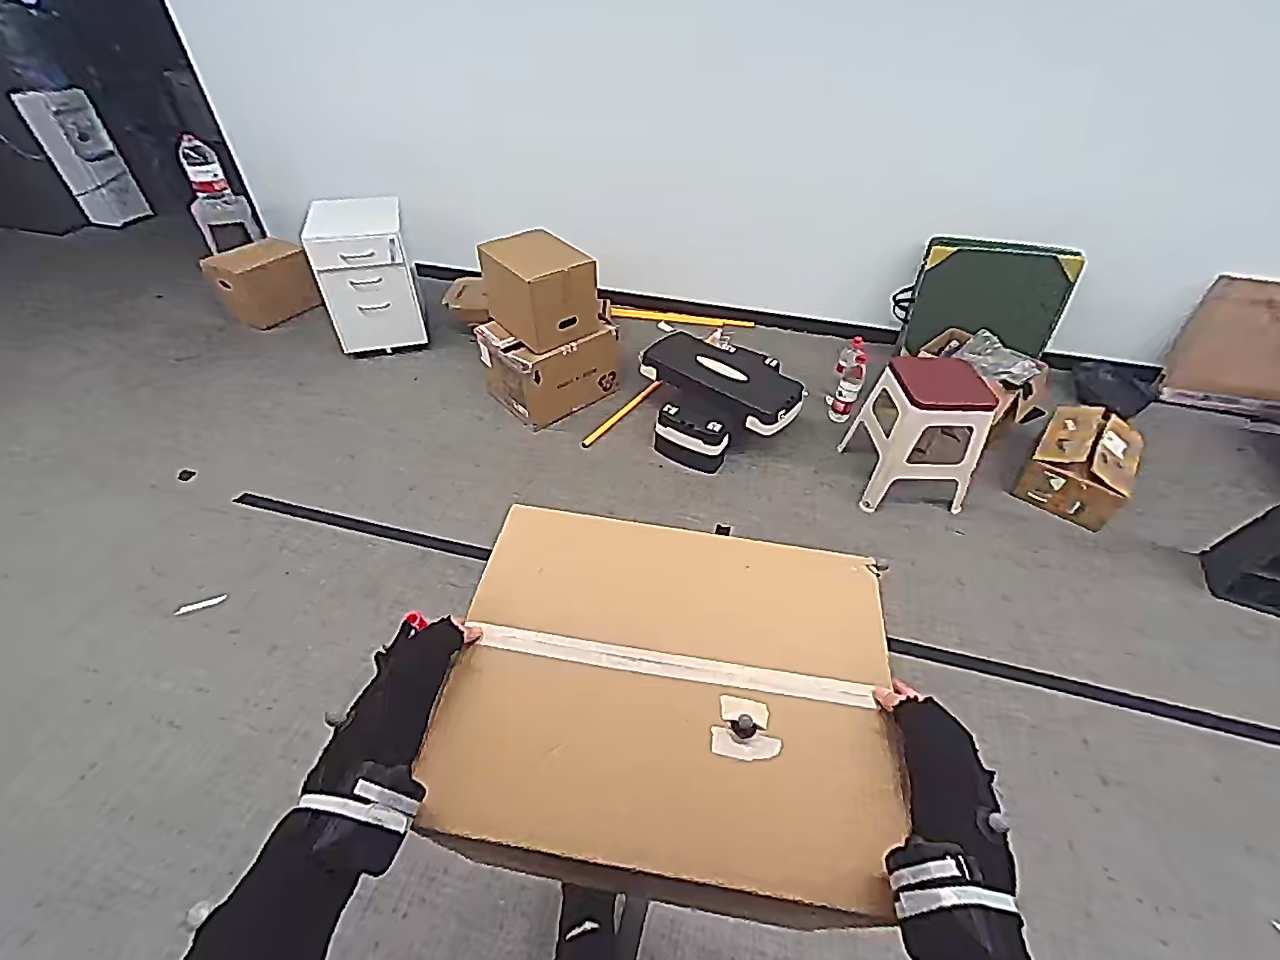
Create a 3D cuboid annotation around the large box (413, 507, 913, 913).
[{"bbox_3d":[0.025,0.268,0.627,0.408,0.320,0.320,9,50,4],"label":"large box"}]
